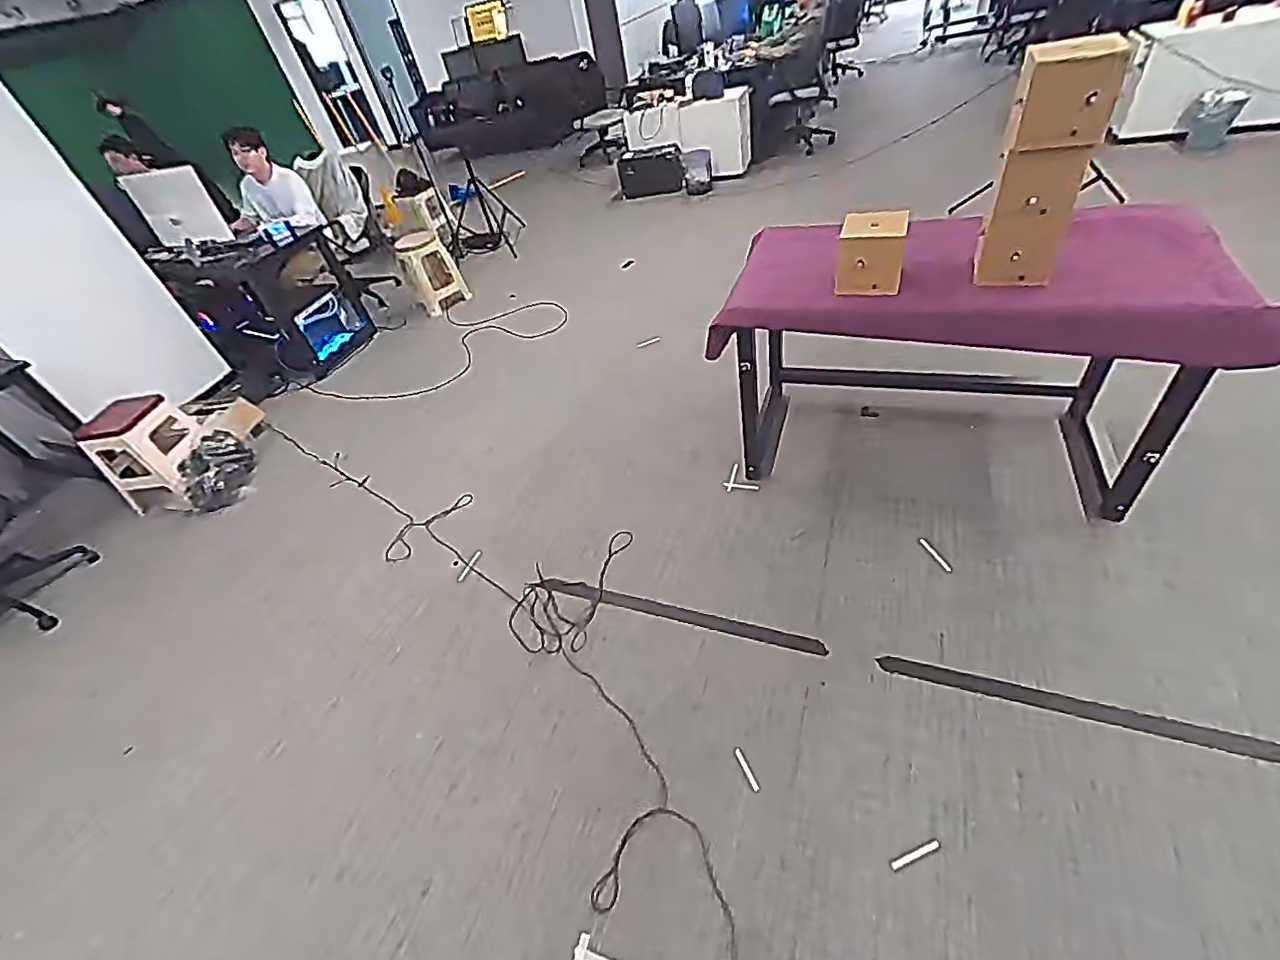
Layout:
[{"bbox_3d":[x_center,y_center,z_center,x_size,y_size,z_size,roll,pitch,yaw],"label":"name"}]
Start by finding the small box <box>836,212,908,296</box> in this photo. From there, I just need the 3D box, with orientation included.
[{"bbox_3d":[0.653,-0.636,1.531,0.168,0.176,0.179,8,46,22],"label":"small box"}]

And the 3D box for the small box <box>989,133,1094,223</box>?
[{"bbox_3d":[0.968,-0.746,1.319,0.168,0.176,0.179,9,48,24],"label":"small box"}]

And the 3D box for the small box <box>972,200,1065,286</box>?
[{"bbox_3d":[0.994,-0.627,1.430,0.168,0.176,0.179,10,48,23],"label":"small box"}]

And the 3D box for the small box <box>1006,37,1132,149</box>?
[{"bbox_3d":[0.933,-0.846,1.194,0.168,0.176,0.179,8,47,21],"label":"small box"}]
